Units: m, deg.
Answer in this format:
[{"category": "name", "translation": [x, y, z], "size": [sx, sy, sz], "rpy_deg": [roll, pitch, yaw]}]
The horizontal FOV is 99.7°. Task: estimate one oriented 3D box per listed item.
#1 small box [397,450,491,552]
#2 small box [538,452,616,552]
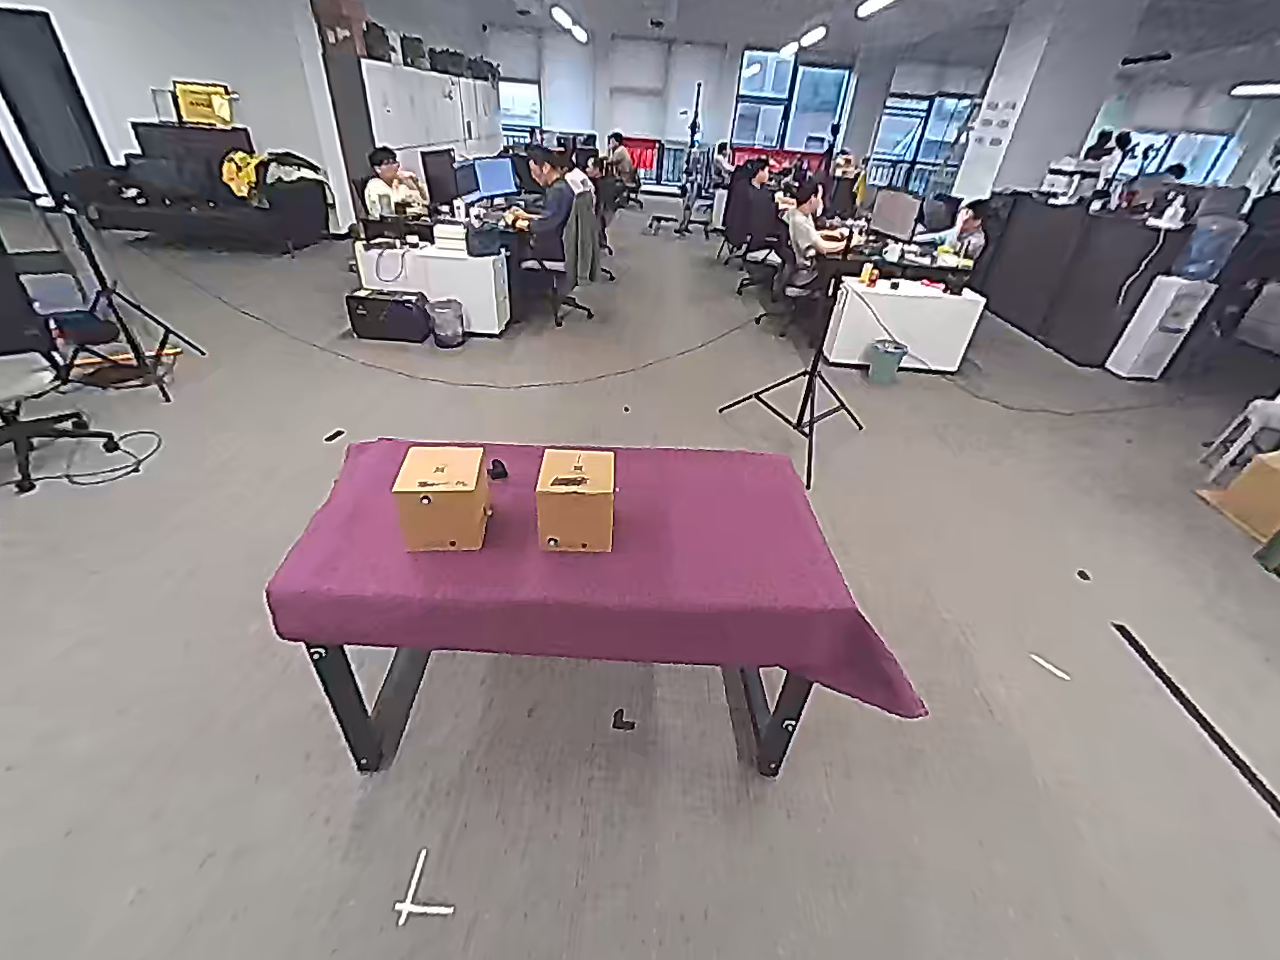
[{"category": "small box", "translation": [-0.436, 0.045, 1.232], "size": [0.168, 0.176, 0.179], "rpy_deg": [-1, 33, -8]}, {"category": "small box", "translation": [-0.142, 0.051, 1.260], "size": [0.168, 0.176, 0.179], "rpy_deg": [3, 33, -3]}]
